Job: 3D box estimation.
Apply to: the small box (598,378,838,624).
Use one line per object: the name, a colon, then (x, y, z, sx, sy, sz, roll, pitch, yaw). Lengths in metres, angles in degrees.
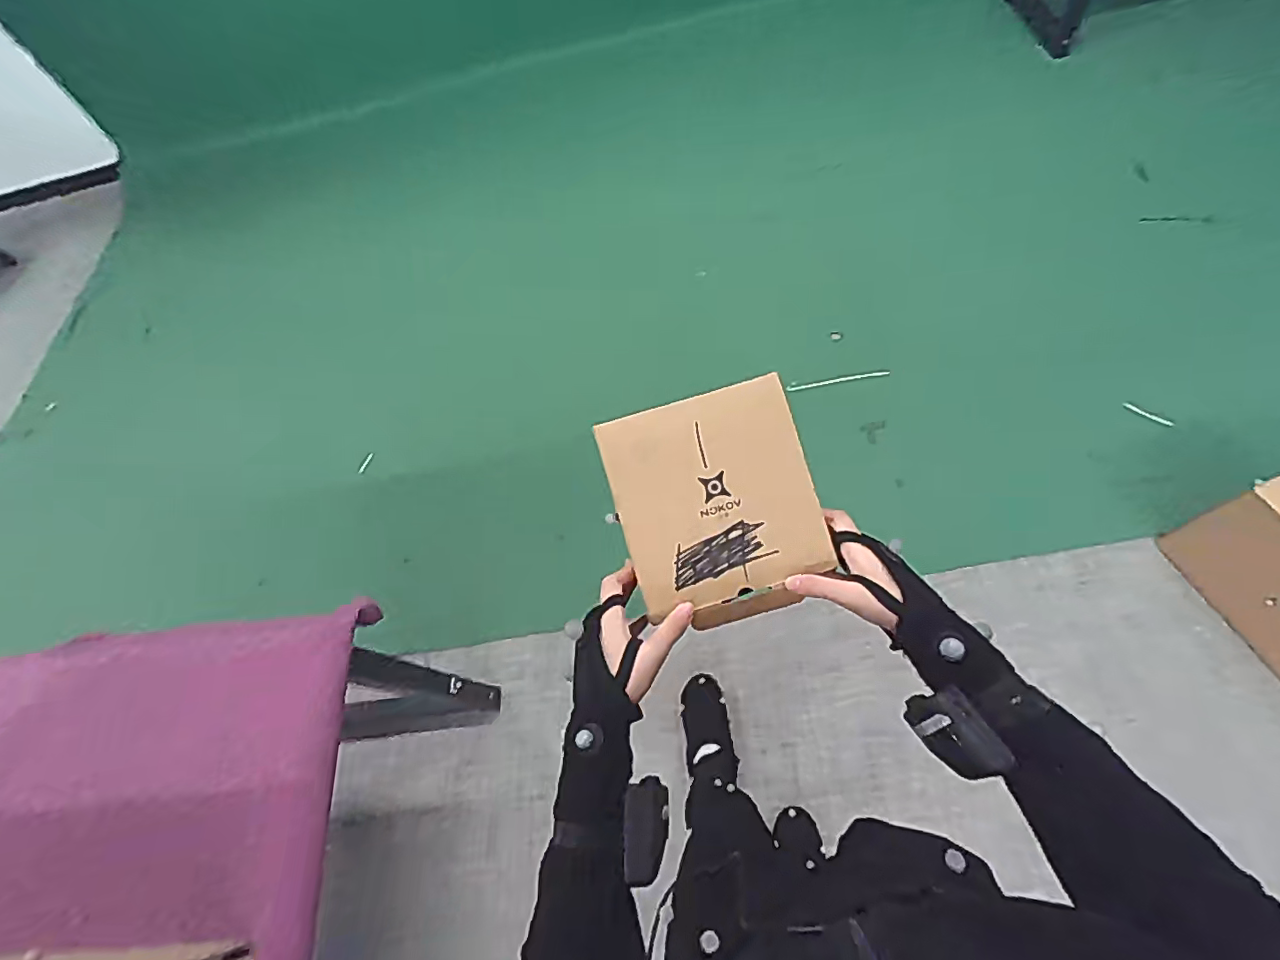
small box: (0.065, 0.021, 0.532, 0.168, 0.176, 0.179, -16, 85, -2)

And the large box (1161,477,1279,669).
large box: (1.458, 0.189, 1.109, 0.320, 0.320, 0.408, -23, 59, -2)
